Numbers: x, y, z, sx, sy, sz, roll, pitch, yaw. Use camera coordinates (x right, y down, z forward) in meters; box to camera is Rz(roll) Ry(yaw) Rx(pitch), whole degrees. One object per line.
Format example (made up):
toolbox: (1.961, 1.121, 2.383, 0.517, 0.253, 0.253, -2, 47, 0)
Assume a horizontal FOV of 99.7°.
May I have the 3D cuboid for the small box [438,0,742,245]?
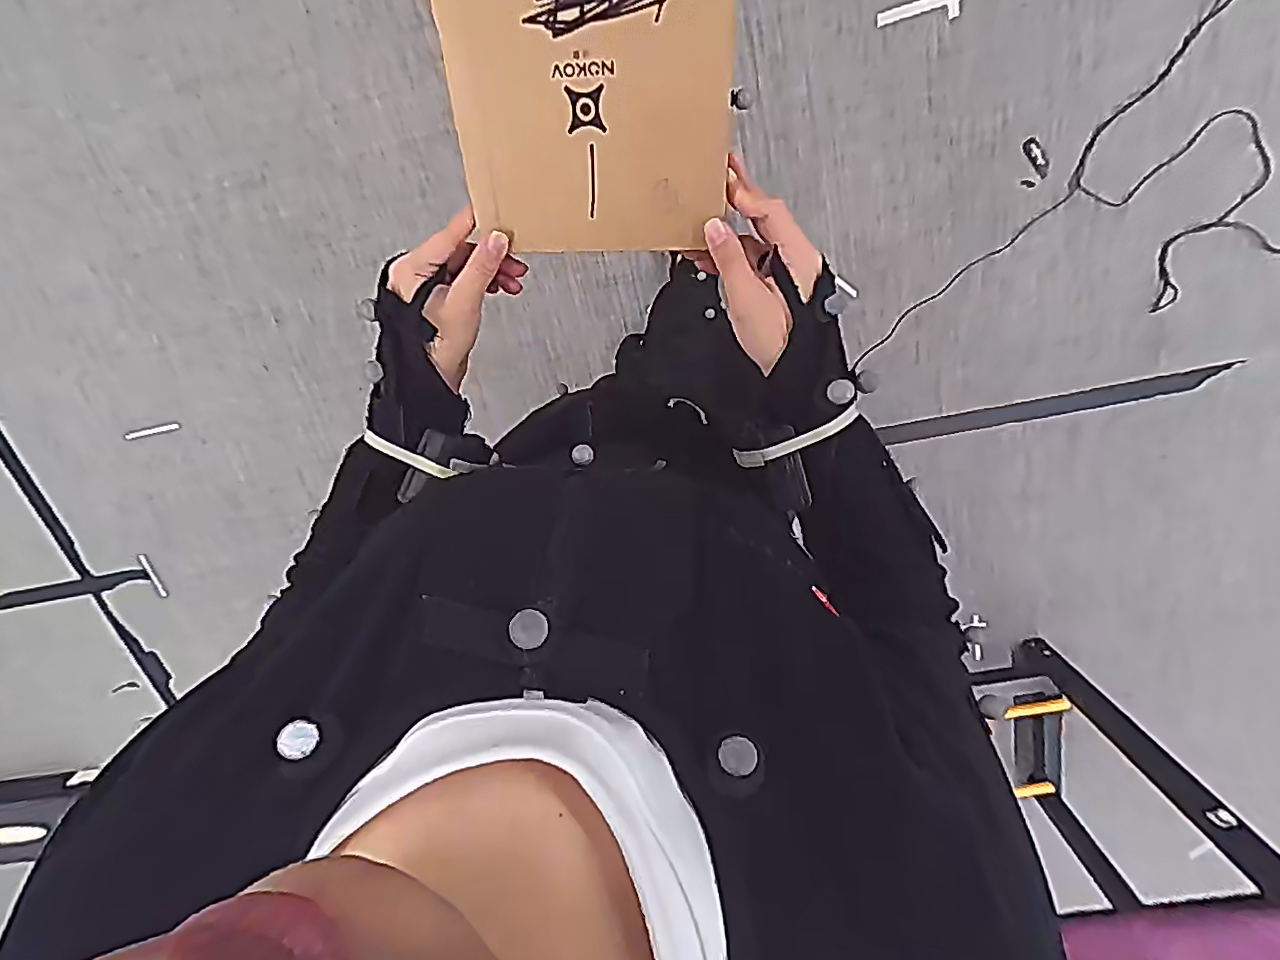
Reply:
small box: (-0.019, -0.272, 0.372, 0.168, 0.176, 0.179, 2, 126, 7)
